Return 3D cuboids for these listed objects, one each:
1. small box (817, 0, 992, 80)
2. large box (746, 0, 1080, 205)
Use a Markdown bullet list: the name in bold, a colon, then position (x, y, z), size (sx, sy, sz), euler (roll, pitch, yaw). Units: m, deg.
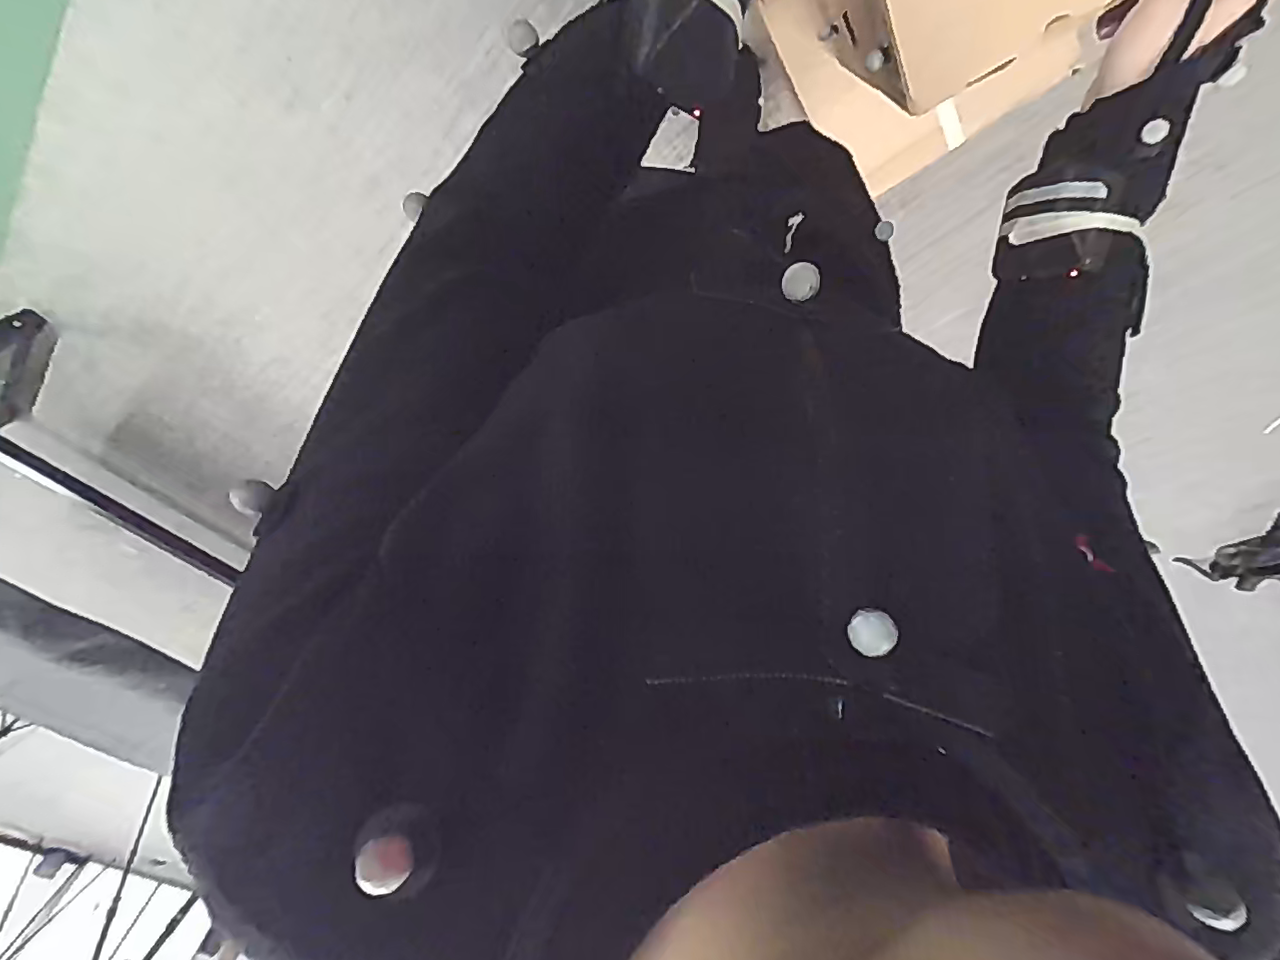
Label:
- **small box**: position (0.235, -0.488, 0.459), size (0.179, 0.176, 0.168), euler (-23, 126, 26)
- **large box**: position (0.350, -0.711, 0.789), size (0.320, 0.320, 0.408), euler (-25, 124, 29)
